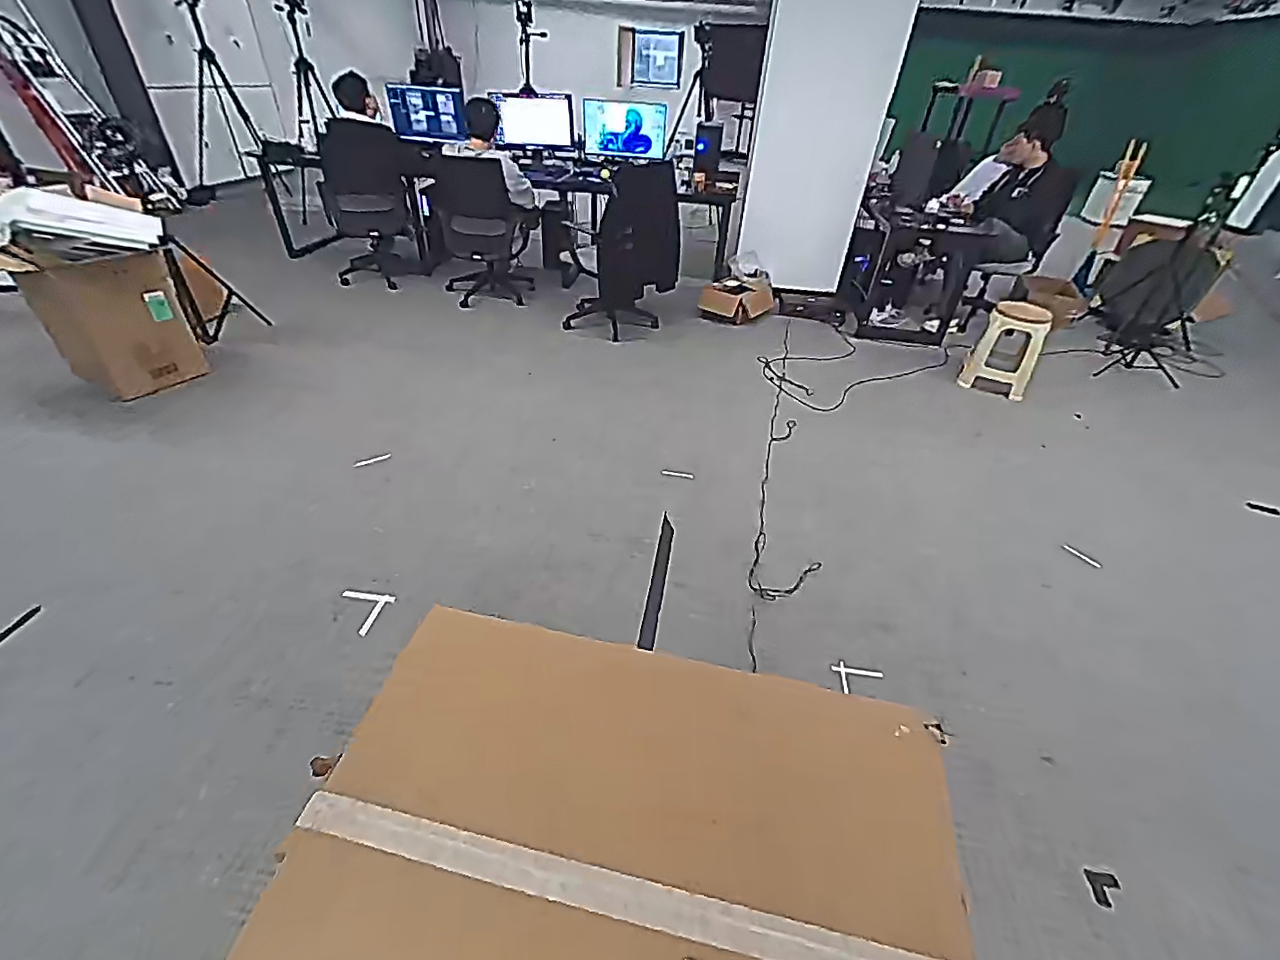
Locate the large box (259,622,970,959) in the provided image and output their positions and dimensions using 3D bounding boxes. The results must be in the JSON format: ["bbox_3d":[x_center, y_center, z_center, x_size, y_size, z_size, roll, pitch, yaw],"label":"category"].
[{"bbox_3d":[-0.011,0.359,0.433,0.408,0.320,0.320,10,46,8],"label":"large box"}]
